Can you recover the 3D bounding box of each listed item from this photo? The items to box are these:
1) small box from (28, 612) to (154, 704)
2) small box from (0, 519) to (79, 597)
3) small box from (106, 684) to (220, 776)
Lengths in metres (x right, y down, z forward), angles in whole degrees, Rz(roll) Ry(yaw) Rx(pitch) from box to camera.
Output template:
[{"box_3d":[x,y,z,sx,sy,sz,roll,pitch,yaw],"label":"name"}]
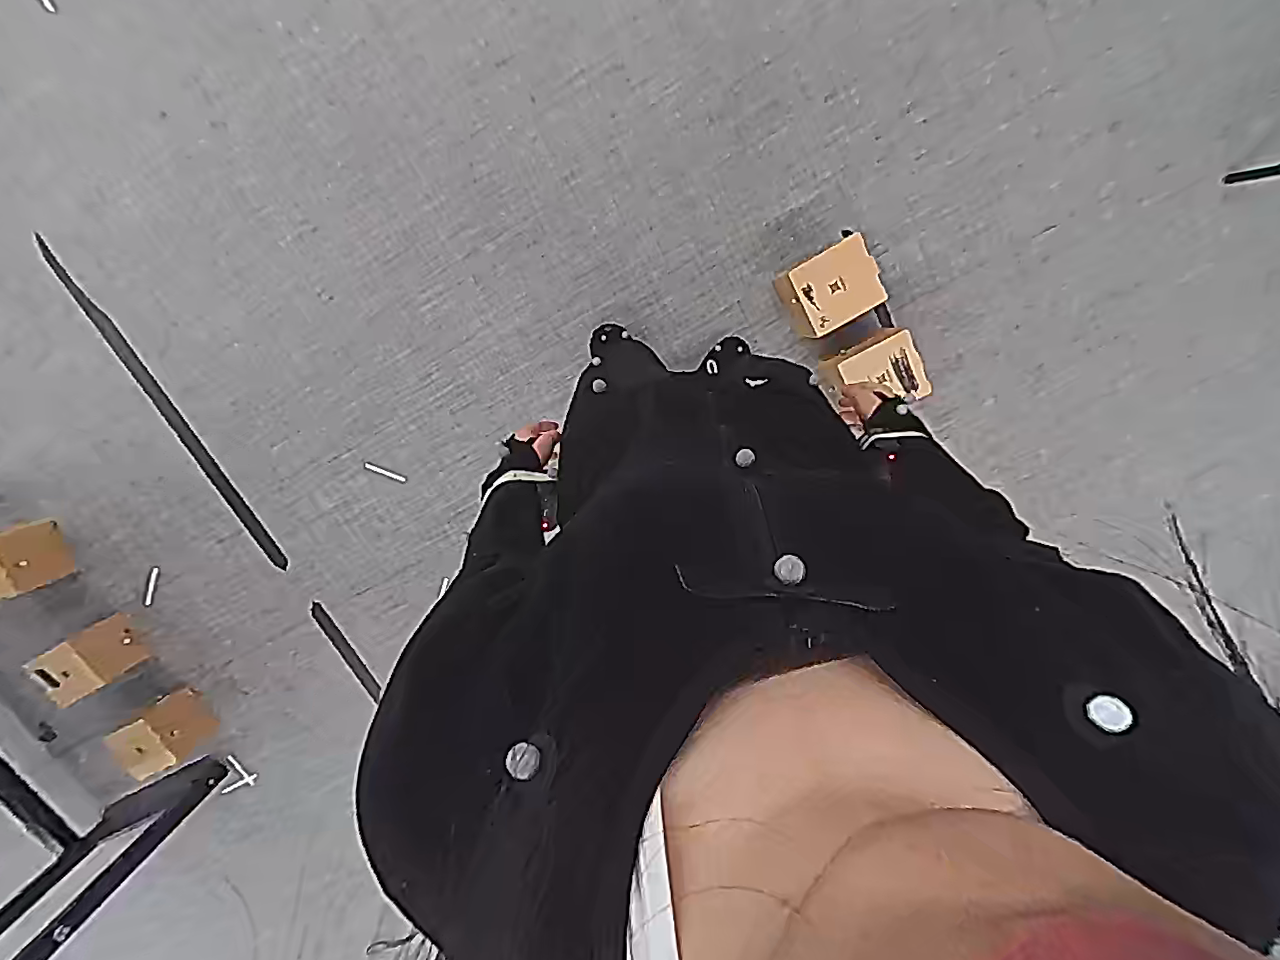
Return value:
[{"box_3d":[-1.659,0.536,1.646,0.179,0.176,0.168,-28,103,9],"label":"small box"},{"box_3d":[-1.813,0.224,1.564,0.168,0.176,0.179,-10,107,4],"label":"small box"},{"box_3d":[-1.499,0.787,1.714,0.168,0.176,0.179,-25,103,8],"label":"small box"}]
